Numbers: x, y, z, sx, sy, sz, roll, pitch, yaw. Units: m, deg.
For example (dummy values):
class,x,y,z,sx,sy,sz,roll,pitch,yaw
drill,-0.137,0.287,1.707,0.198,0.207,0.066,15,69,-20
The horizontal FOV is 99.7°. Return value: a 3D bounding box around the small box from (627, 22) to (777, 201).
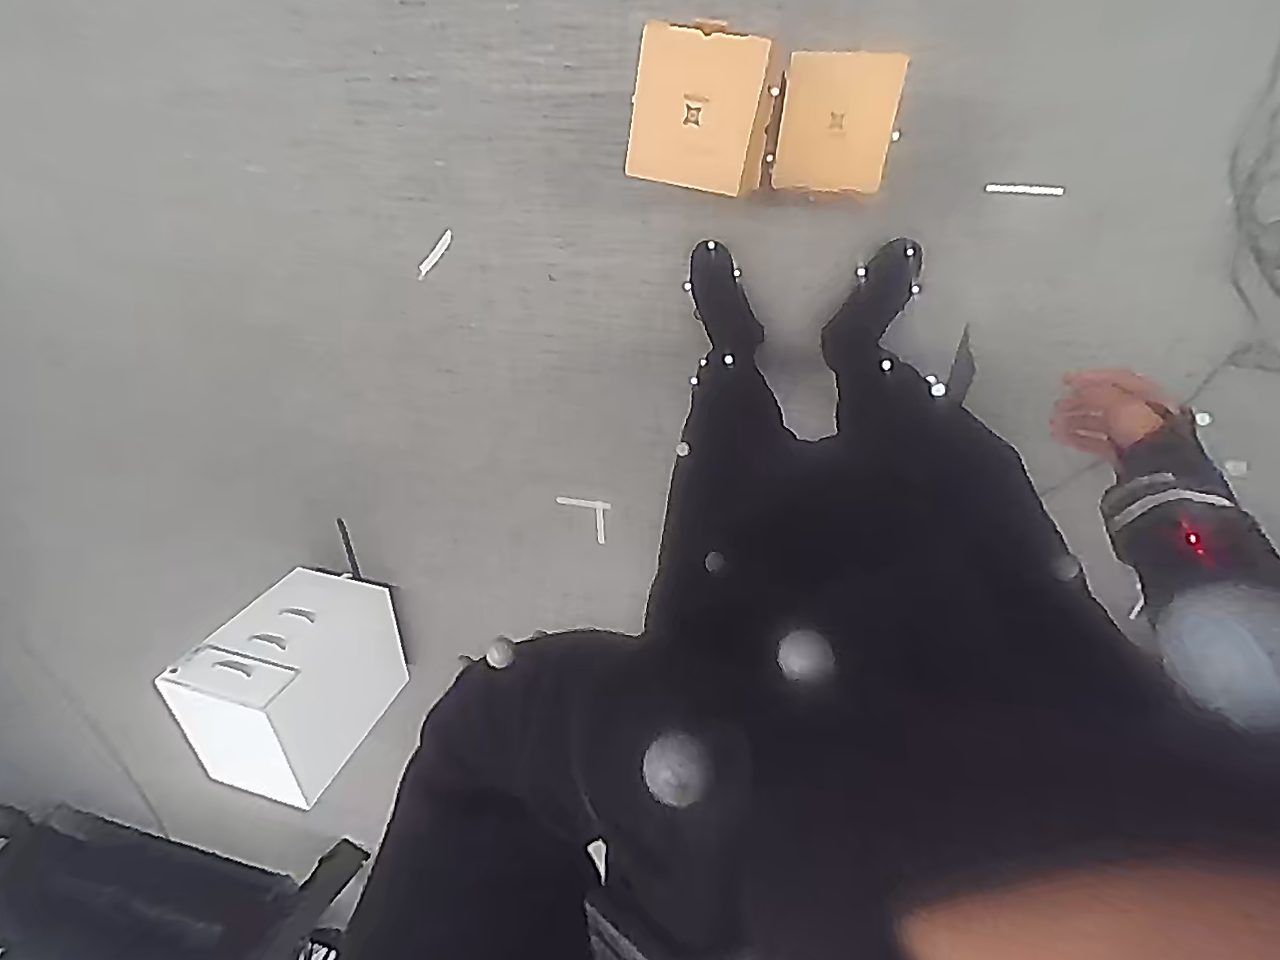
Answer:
class,x,y,z,sx,sy,sz,roll,pitch,yaw
small box,0.092,-0.514,0.776,0.168,0.176,0.179,16,121,8
